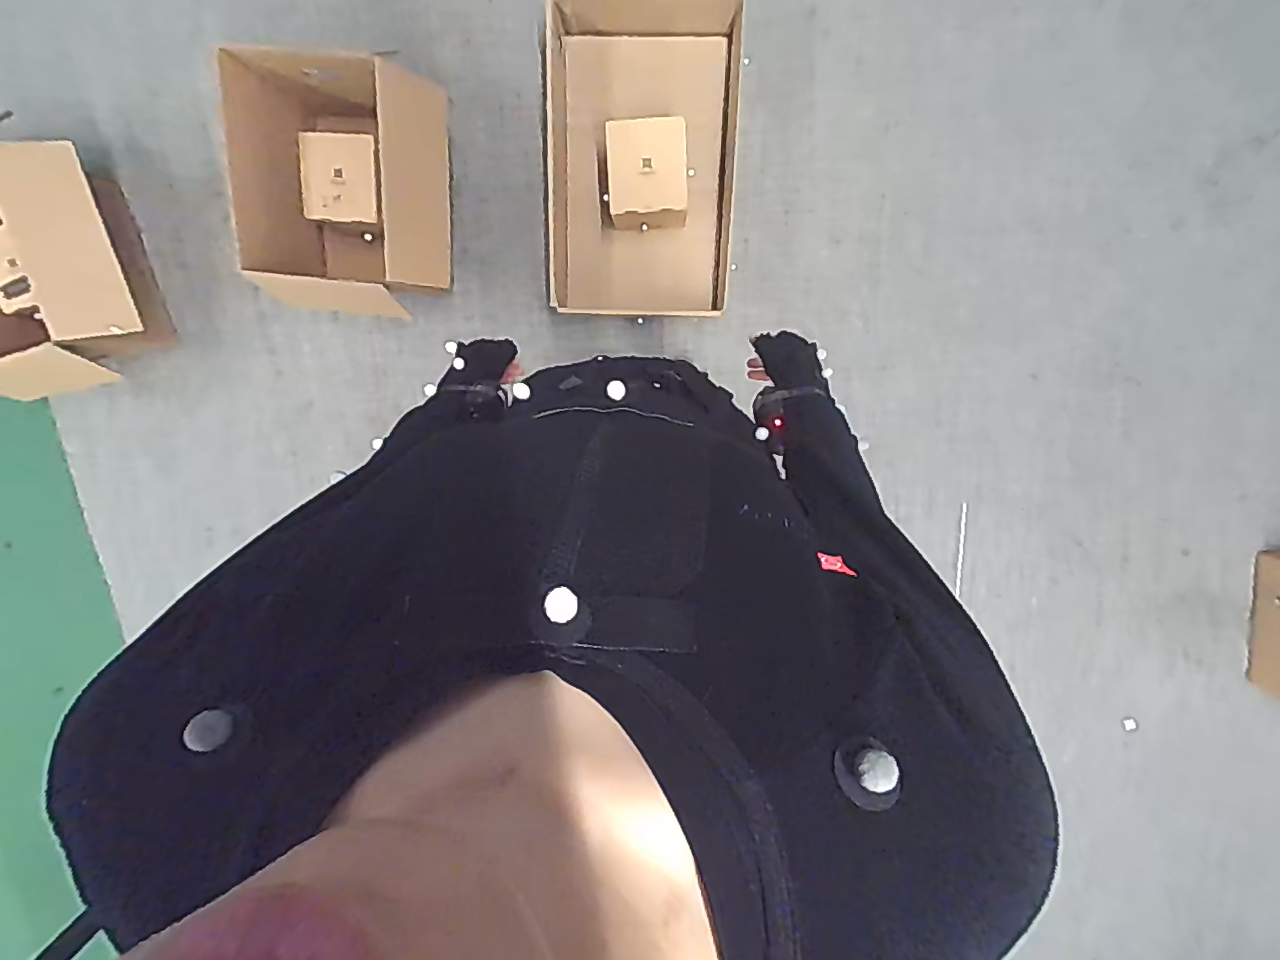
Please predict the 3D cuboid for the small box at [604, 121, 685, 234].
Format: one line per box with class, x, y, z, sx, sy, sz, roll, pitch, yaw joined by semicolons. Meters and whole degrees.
small box;0.011;-0.657;1.192;0.168;0.176;0.179;-3;103;3
